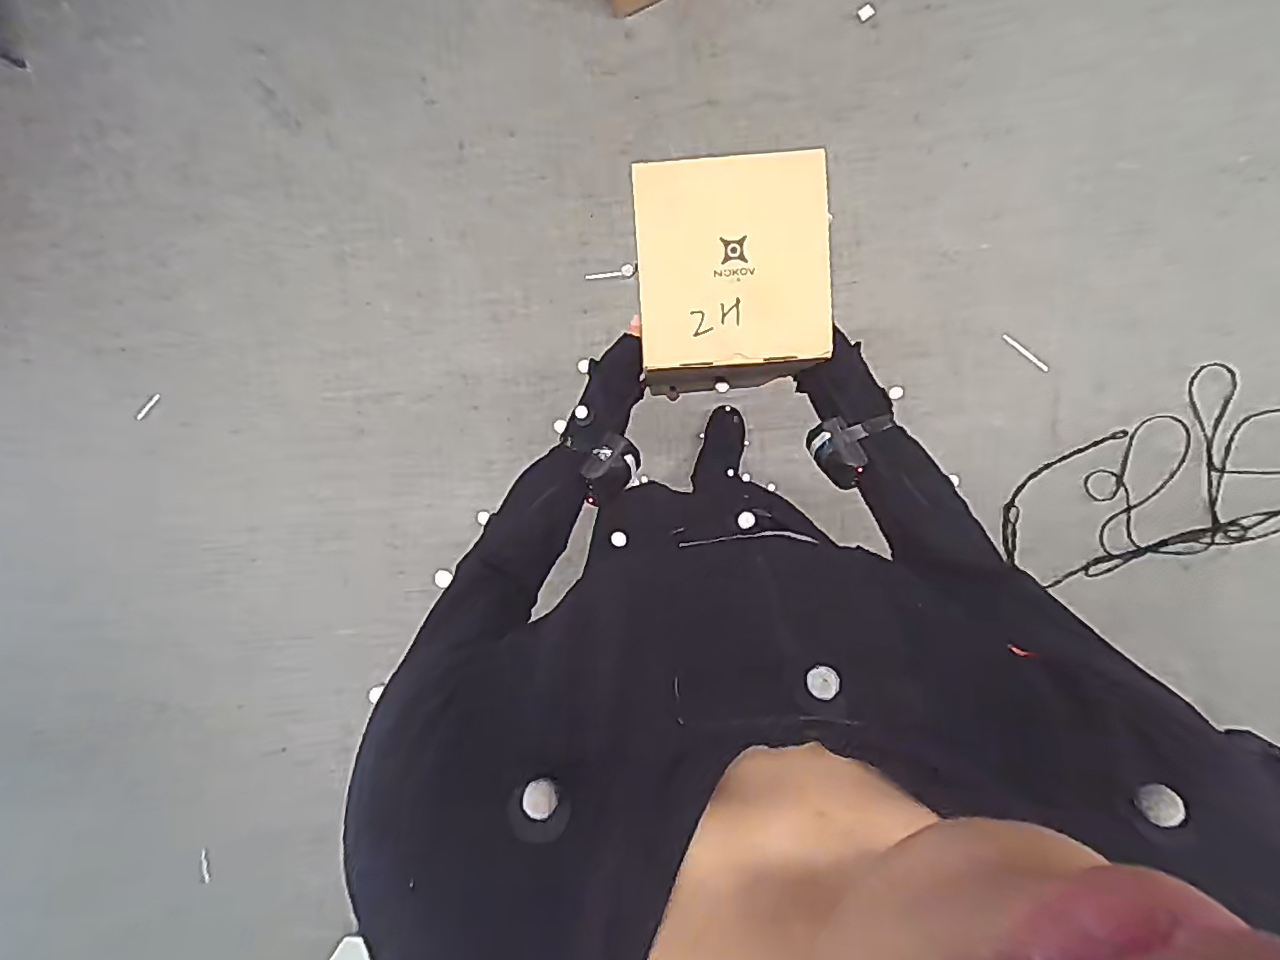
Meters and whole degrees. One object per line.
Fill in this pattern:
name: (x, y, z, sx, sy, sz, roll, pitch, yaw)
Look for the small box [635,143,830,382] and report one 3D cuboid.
small box: (0.081, -0.200, 0.542, 0.168, 0.176, 0.179, -3, 94, 2)
